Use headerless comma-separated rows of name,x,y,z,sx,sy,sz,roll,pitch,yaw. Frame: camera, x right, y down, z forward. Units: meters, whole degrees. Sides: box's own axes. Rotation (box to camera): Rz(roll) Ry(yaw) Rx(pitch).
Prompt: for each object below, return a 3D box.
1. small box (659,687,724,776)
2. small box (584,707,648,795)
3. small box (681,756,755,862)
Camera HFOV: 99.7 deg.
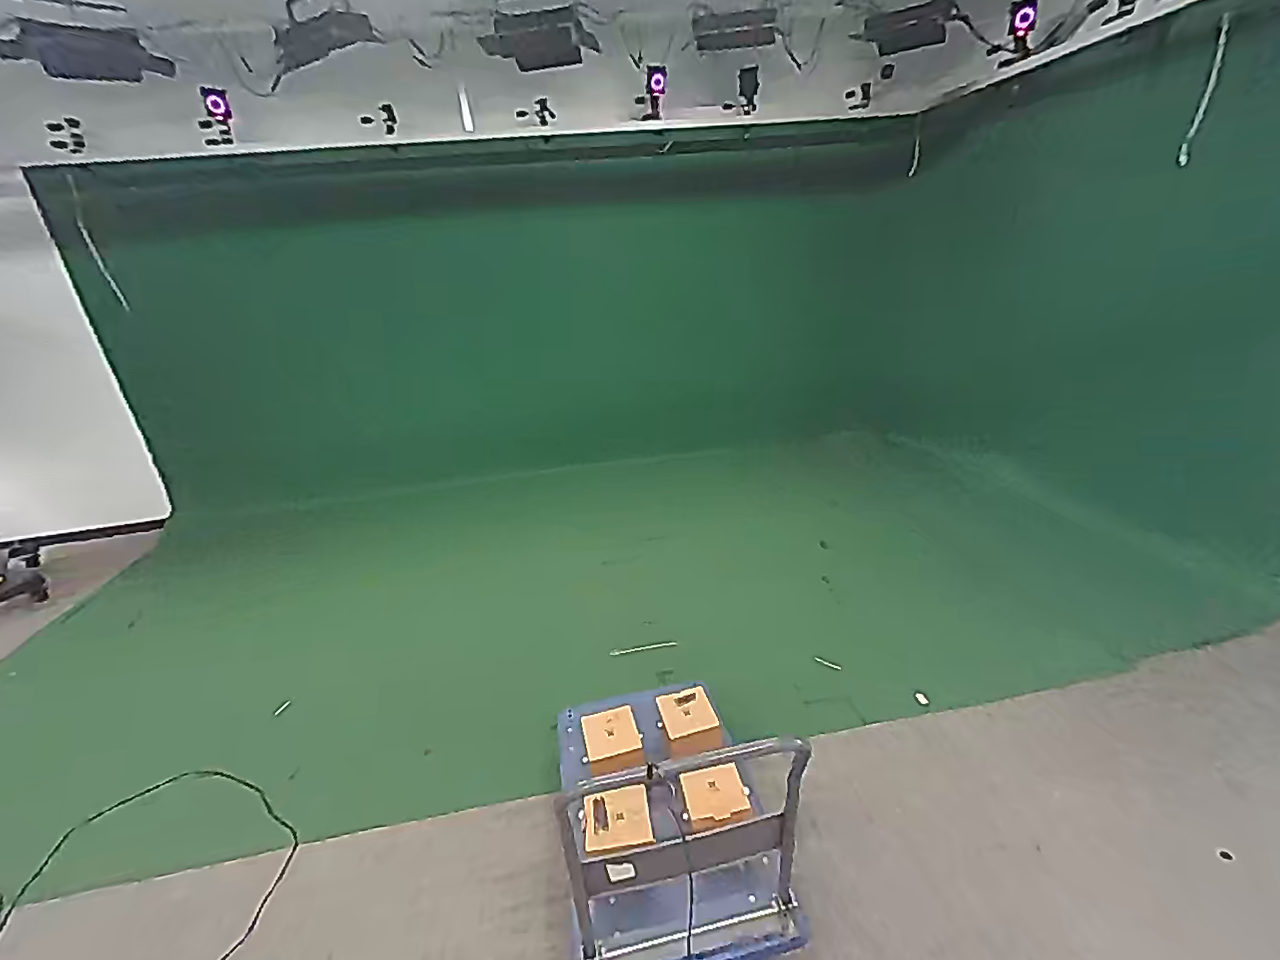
small box,0.165,0.815,1.756,0.168,0.176,0.179,-11,25,-11
small box,-0.077,0.860,1.707,0.168,0.176,0.179,-9,23,-11
small box,0.214,0.917,1.511,0.168,0.176,0.179,-8,24,-7
